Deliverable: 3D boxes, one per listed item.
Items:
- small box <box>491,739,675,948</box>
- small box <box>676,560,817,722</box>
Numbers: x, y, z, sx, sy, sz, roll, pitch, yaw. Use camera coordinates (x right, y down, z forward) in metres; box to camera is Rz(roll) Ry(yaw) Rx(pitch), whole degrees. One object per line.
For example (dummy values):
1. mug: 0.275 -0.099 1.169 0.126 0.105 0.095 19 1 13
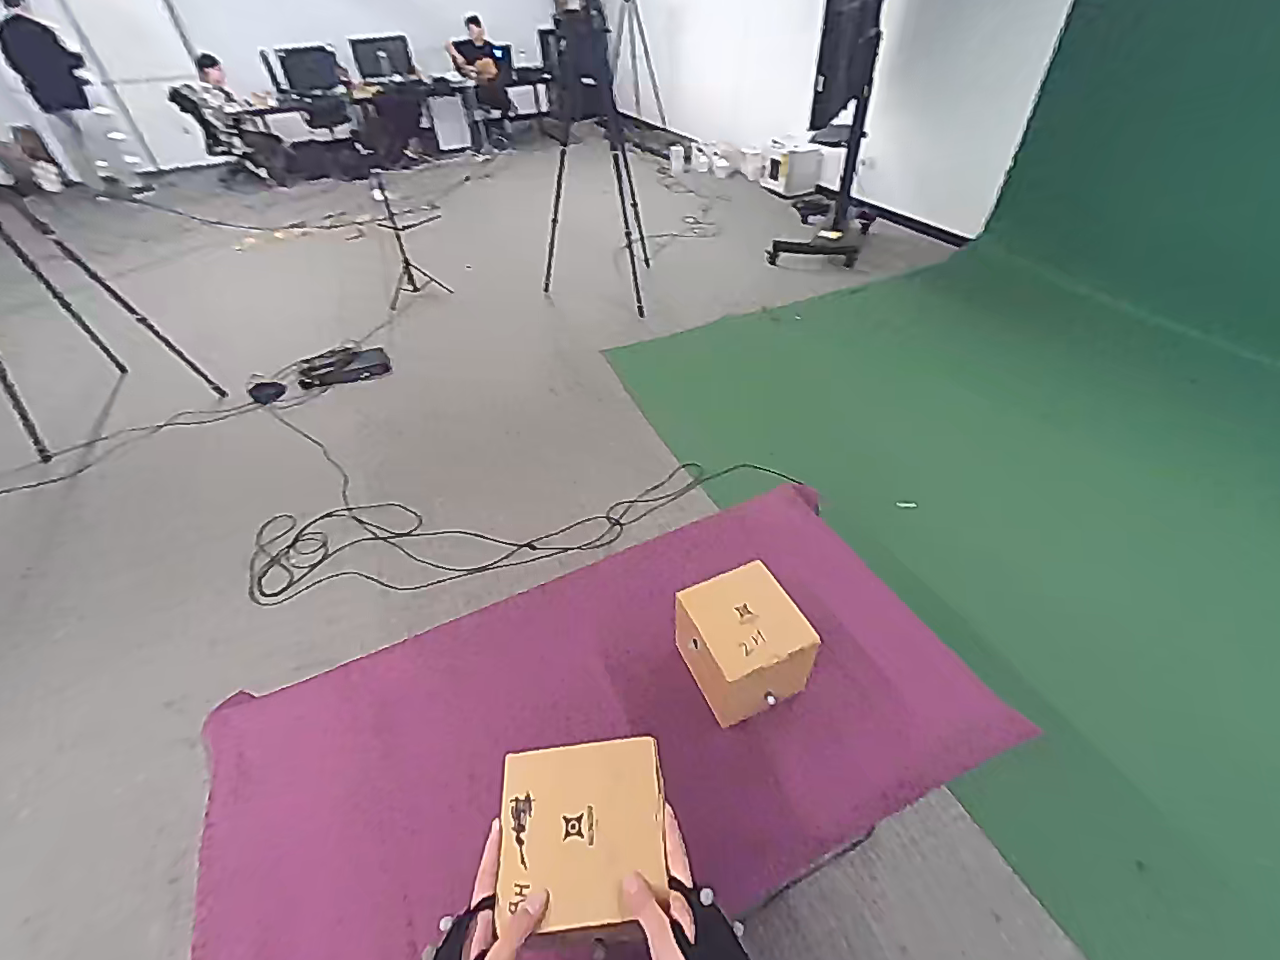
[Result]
1. small box: -0.055 0.418 0.620 0.179 0.176 0.168 -6 45 0
2. small box: 0.169 0.273 0.920 0.168 0.176 0.179 -19 45 -15
